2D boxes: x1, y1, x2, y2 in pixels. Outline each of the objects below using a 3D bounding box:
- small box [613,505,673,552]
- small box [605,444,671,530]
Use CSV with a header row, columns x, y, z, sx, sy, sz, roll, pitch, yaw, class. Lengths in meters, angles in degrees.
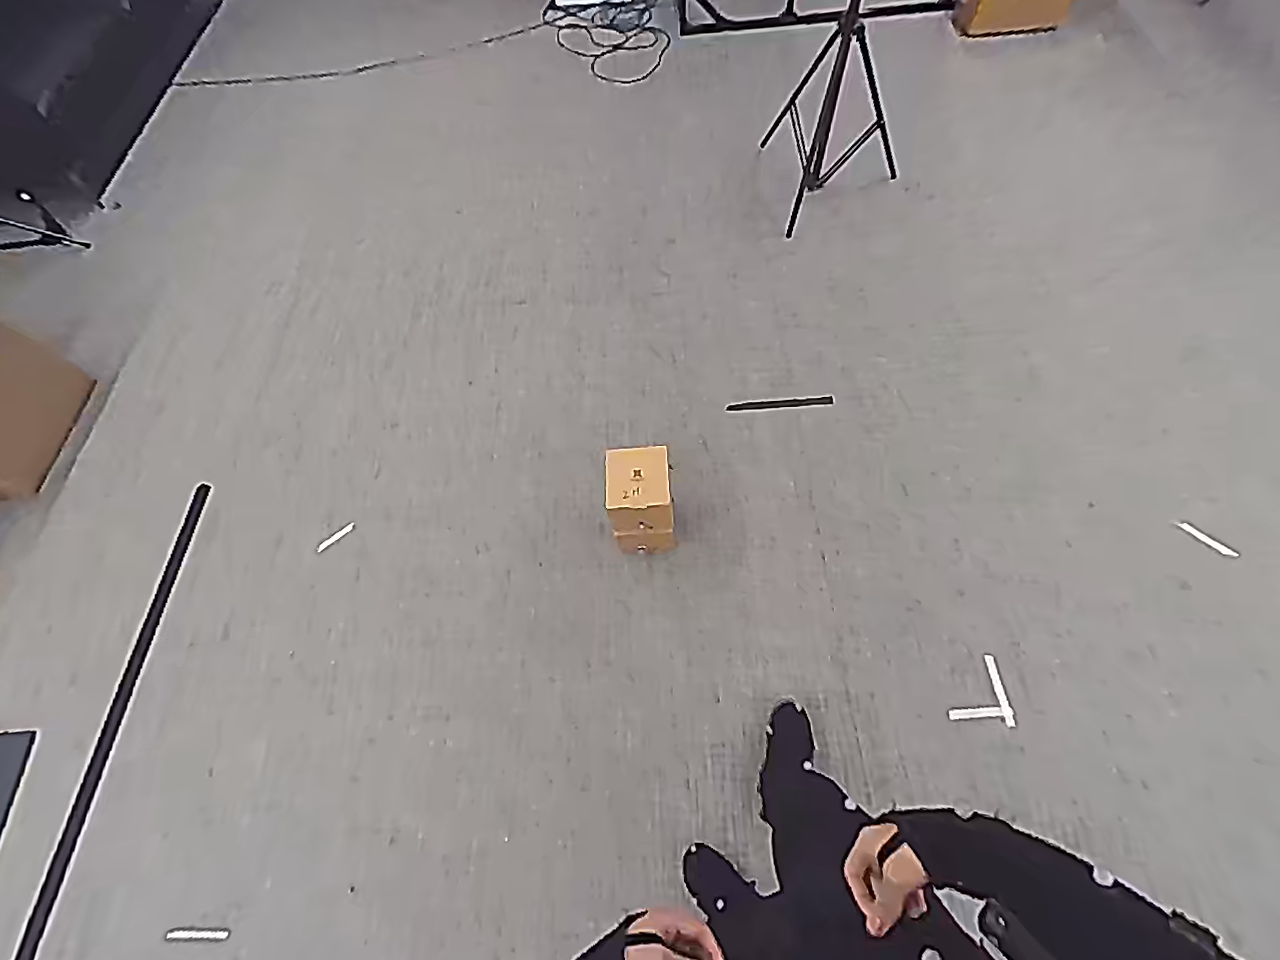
x,y,z,sx,sy,sz,roll,pitch,yaw,class
0.011,0.104,1.614,0.168,0.176,0.179,-4,63,5,small box
-0.003,0.022,1.472,0.168,0.176,0.179,-4,63,5,small box
